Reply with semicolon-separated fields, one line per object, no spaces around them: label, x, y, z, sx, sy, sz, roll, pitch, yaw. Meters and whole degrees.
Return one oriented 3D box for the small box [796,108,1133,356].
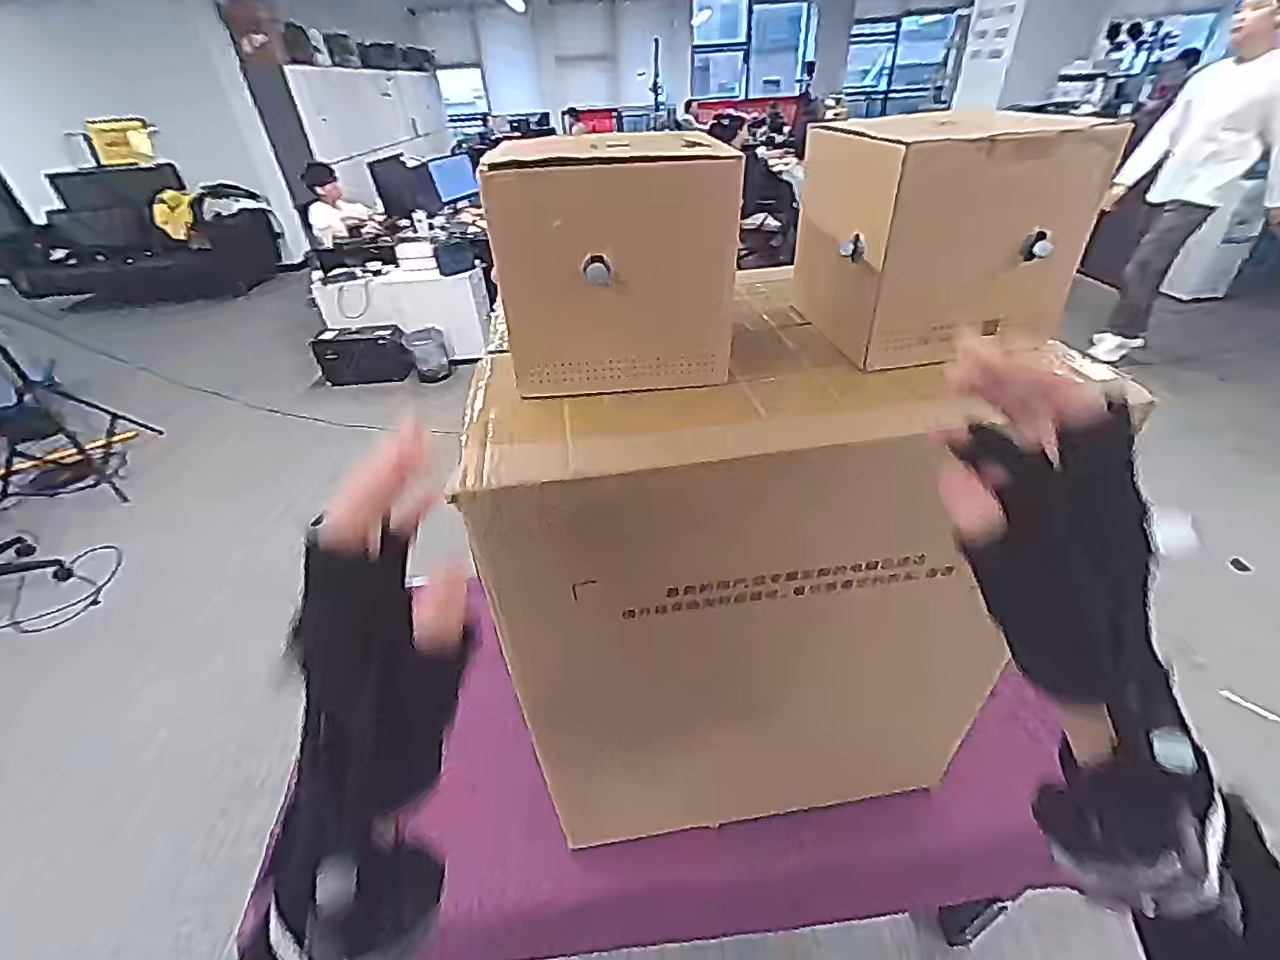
small box;0.251;-0.215;0.475;0.168;0.176;0.179;-7;36;-5

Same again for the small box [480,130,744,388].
small box;-0.019;-0.187;0.458;0.179;0.176;0.168;-5;37;-3
